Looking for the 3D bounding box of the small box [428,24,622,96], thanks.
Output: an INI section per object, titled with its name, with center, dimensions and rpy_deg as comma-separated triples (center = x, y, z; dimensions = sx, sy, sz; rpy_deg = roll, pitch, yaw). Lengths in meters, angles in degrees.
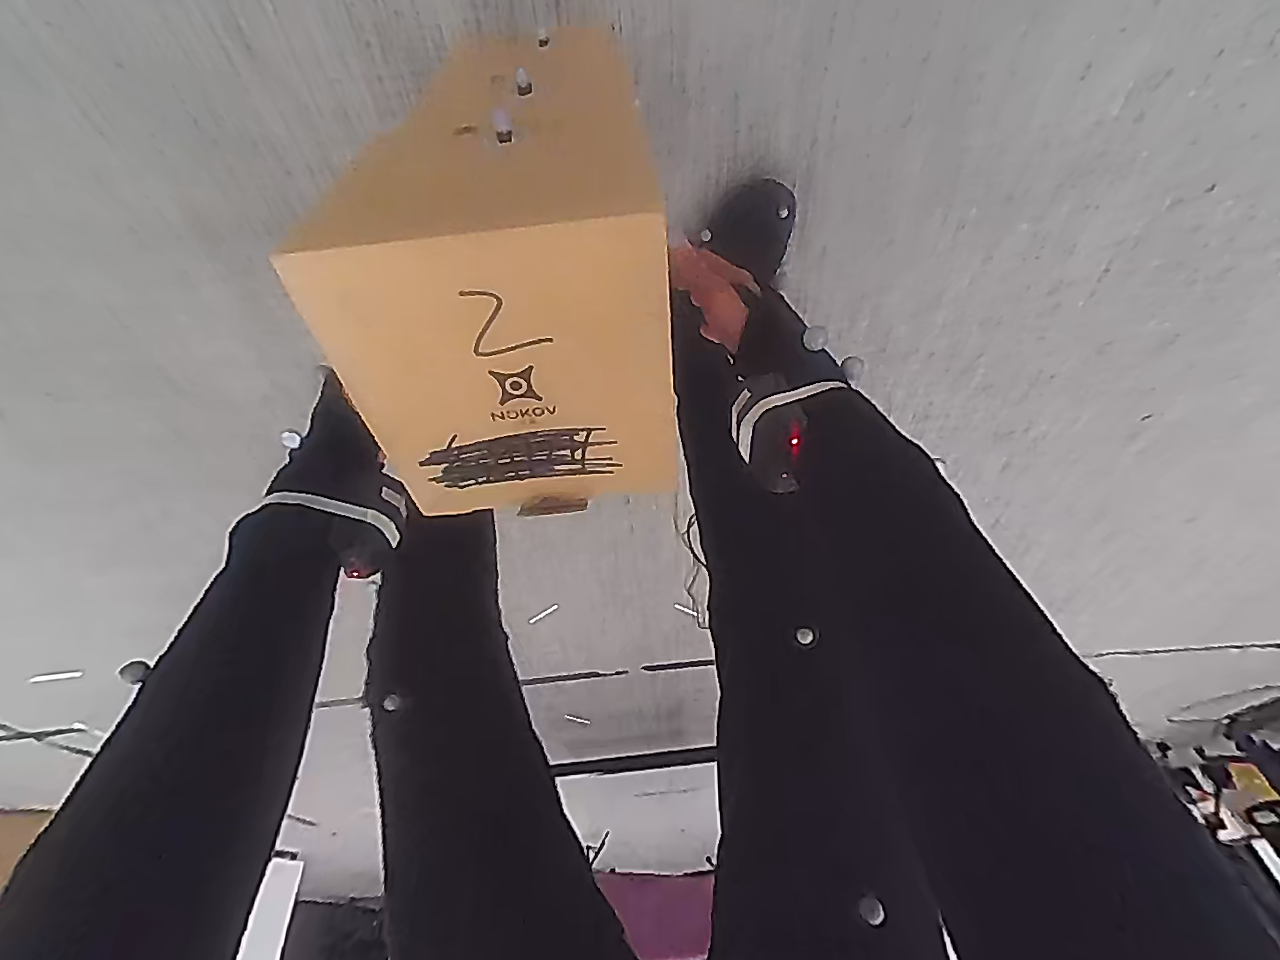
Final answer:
[small box]
center = -0.095, -0.341, 0.565
dimensions = 0.168, 0.176, 0.179
rpy_deg = -7, 138, 1
